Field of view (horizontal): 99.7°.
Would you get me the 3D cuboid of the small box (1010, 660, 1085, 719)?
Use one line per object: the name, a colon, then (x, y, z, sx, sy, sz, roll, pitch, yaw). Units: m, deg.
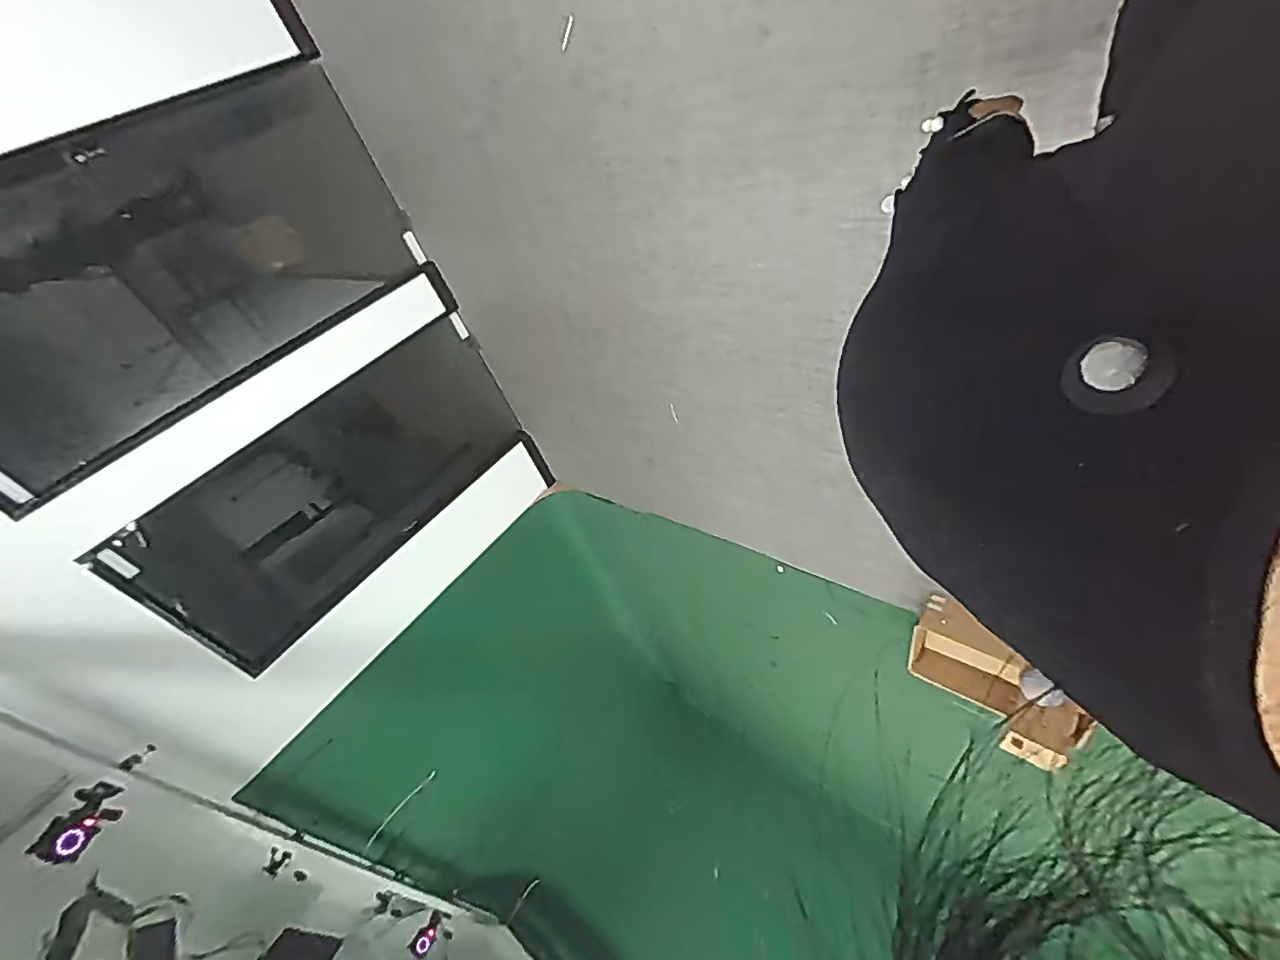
small box: (1.510, 0.801, 2.002, 0.179, 0.176, 0.168, 21, 144, 37)

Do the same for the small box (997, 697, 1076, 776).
small box: (1.408, 0.903, 1.923, 0.179, 0.176, 0.168, 21, 145, 36)
